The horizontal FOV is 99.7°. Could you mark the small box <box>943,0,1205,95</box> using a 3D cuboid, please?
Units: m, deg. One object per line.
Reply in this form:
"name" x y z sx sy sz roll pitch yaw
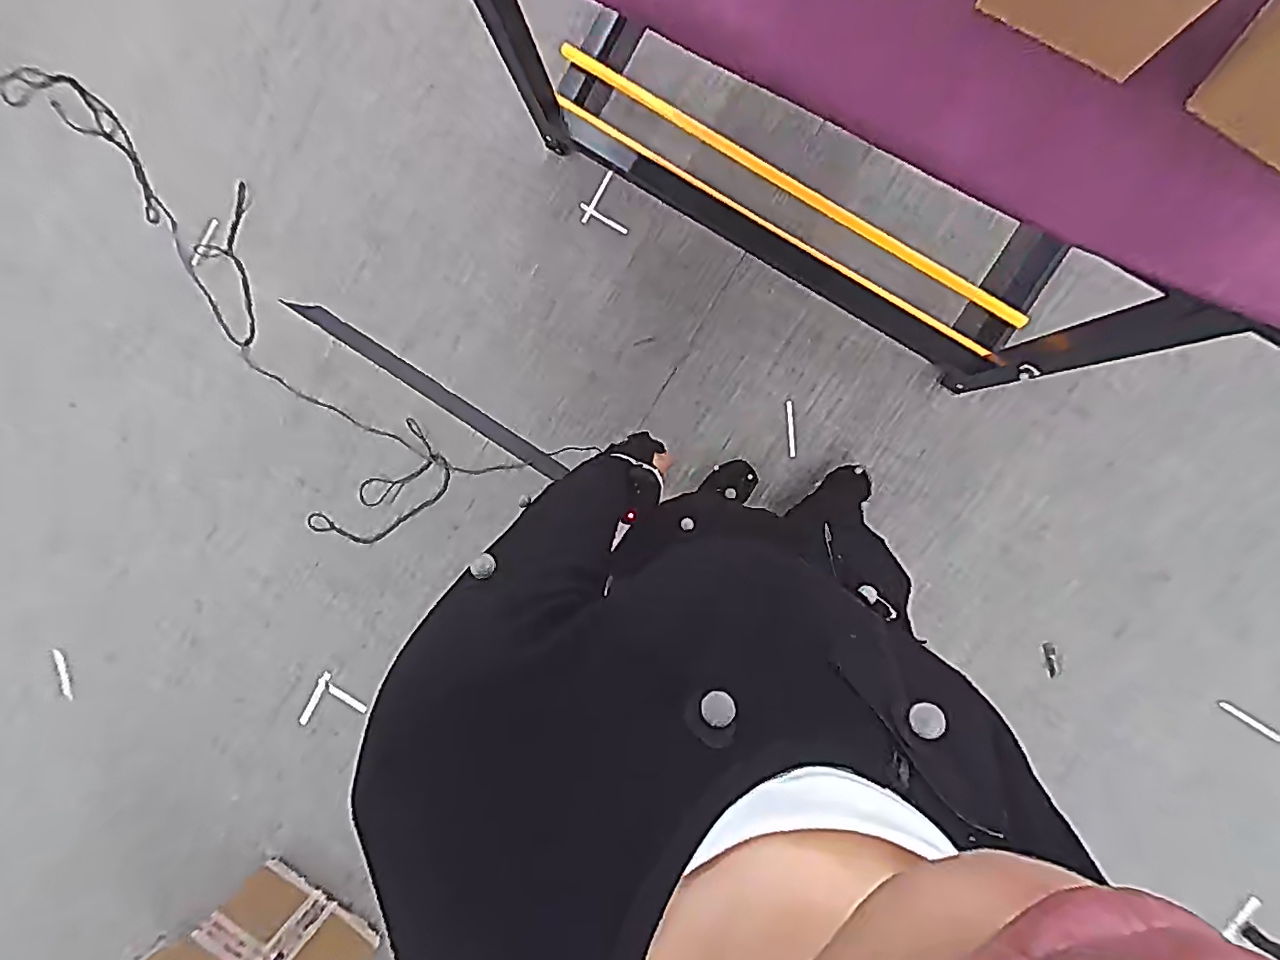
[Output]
"small box" 0.417 -0.489 0.473 0.179 0.176 0.168 34 96 4
